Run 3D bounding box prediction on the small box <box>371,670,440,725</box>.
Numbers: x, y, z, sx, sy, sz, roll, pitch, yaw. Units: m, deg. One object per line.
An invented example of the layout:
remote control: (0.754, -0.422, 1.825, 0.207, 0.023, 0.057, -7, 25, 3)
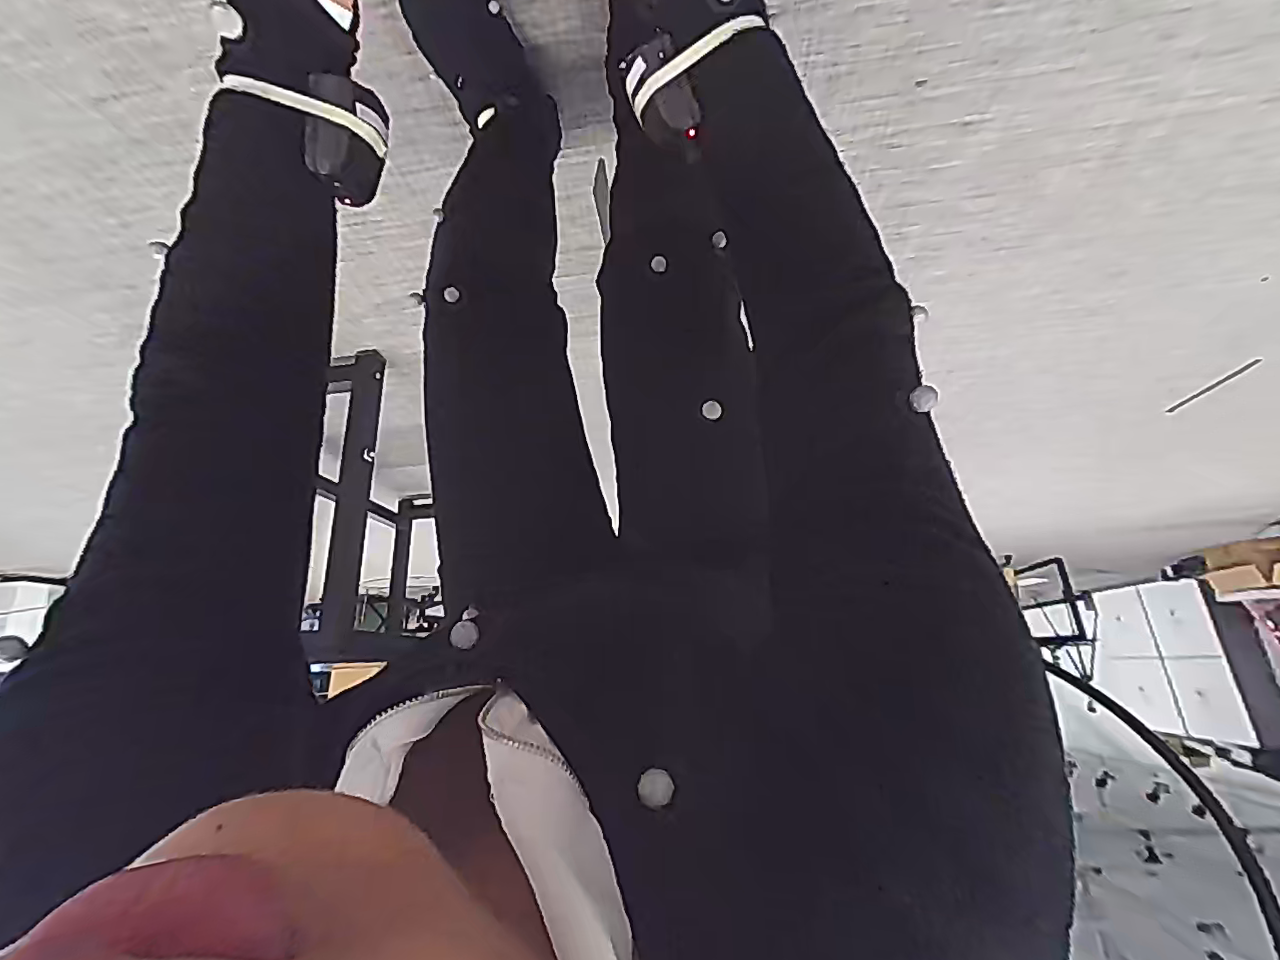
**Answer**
small box: (-0.830, 0.772, 1.930, 0.179, 0.176, 0.168, -4, 159, 3)
